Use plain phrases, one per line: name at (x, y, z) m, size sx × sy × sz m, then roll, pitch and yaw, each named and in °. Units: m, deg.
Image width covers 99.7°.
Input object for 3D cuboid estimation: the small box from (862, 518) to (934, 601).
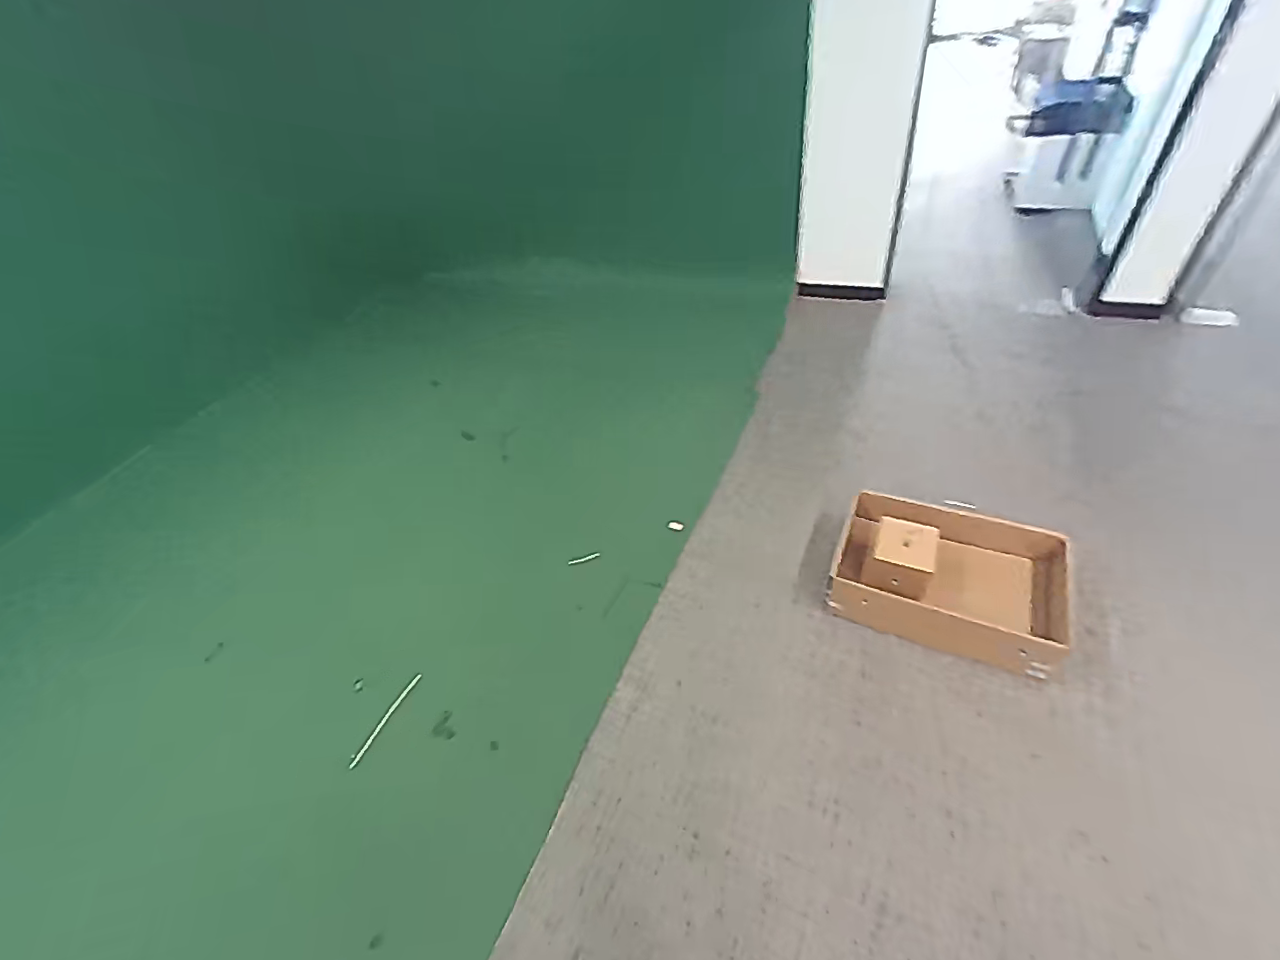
small box at (0.807, 0.254, 1.703) m, size 0.168 × 0.176 × 0.179 m, roll 14°, pitch 50°, yaw 22°
